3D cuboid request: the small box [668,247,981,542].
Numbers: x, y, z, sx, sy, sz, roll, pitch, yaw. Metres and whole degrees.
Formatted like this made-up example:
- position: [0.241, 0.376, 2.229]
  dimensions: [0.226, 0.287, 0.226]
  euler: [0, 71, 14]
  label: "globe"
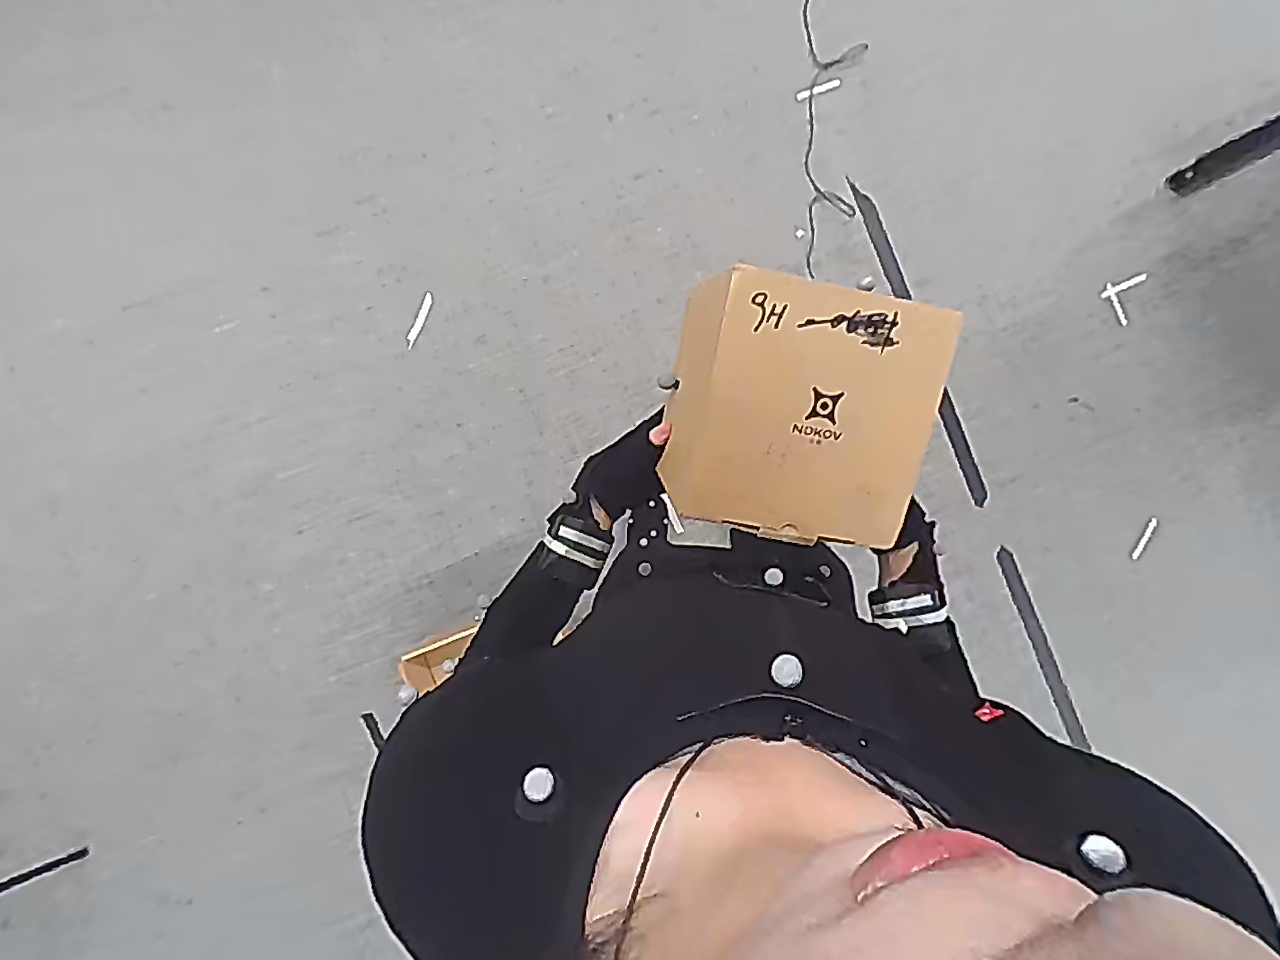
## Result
- position: [0.123, -0.071, 0.442]
  dimensions: [0.168, 0.176, 0.179]
  euler: [10, 104, -8]
  label: "small box"
